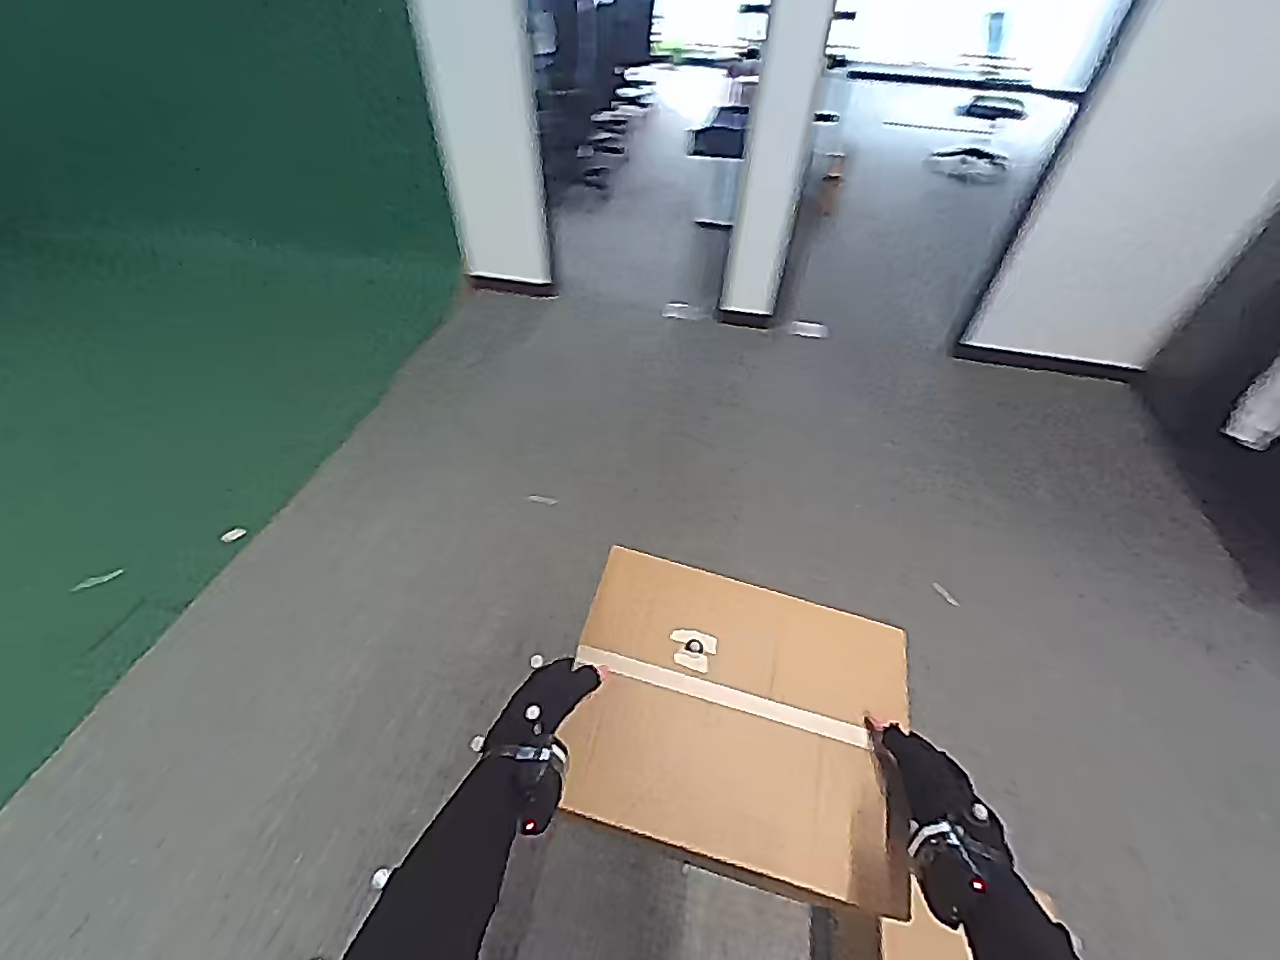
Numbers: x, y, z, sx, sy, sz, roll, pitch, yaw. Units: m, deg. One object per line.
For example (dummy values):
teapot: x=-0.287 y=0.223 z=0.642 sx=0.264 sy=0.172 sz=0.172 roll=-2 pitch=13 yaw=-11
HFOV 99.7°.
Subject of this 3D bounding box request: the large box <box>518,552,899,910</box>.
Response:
large box: x=0.088 y=0.345 z=0.752 sx=0.408 sy=0.320 sz=0.320 roll=14 pitch=54 yaw=4
